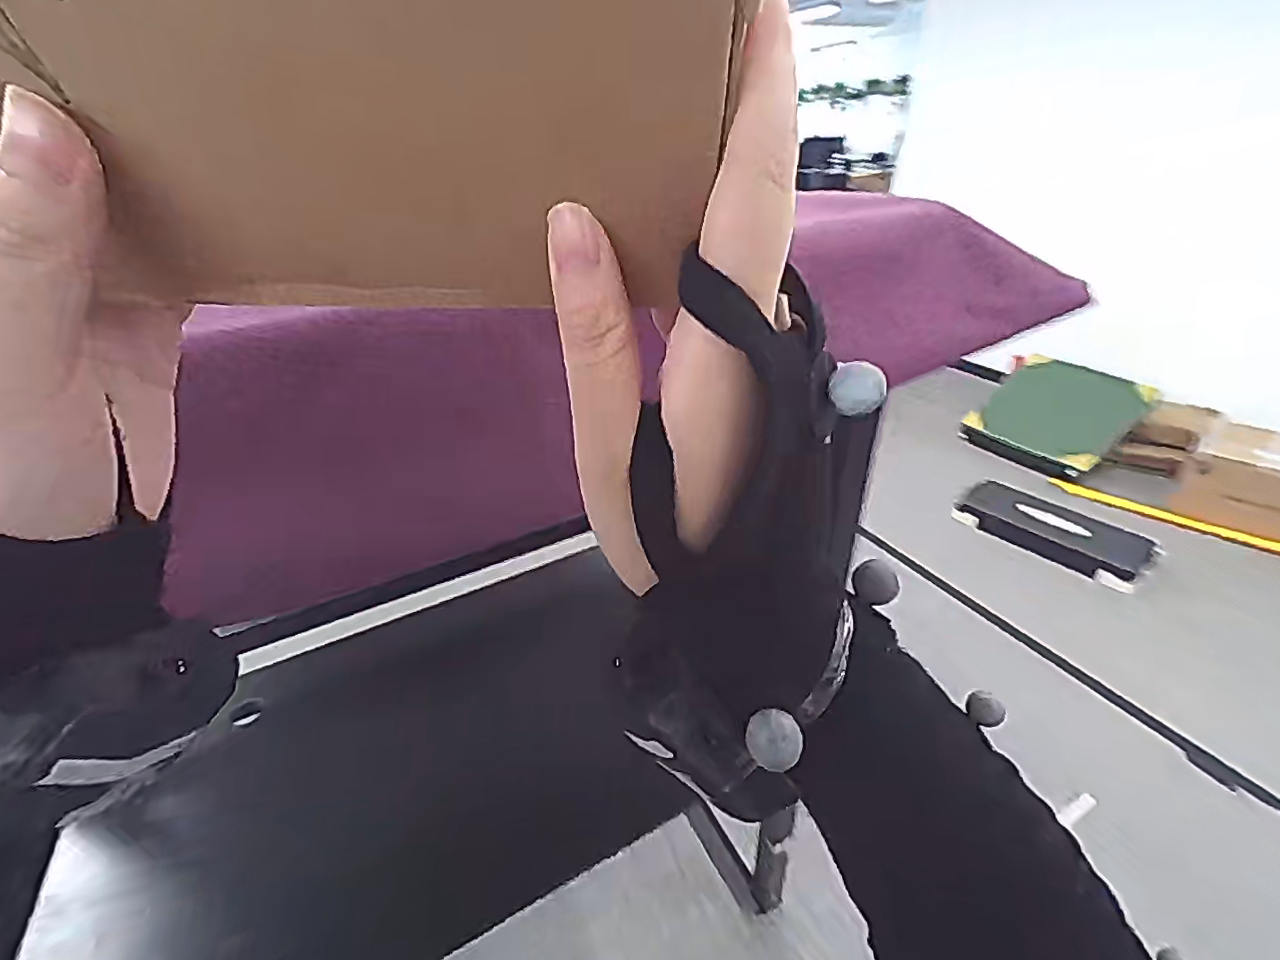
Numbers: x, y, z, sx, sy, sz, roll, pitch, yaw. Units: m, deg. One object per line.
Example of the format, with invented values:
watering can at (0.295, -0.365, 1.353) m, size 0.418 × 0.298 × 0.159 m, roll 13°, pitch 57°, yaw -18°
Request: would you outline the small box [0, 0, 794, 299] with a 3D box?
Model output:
small box at (-0.057, -0.163, 0.121) m, size 0.179 × 0.168 × 0.176 m, roll 2°, pitch 55°, yaw 1°
